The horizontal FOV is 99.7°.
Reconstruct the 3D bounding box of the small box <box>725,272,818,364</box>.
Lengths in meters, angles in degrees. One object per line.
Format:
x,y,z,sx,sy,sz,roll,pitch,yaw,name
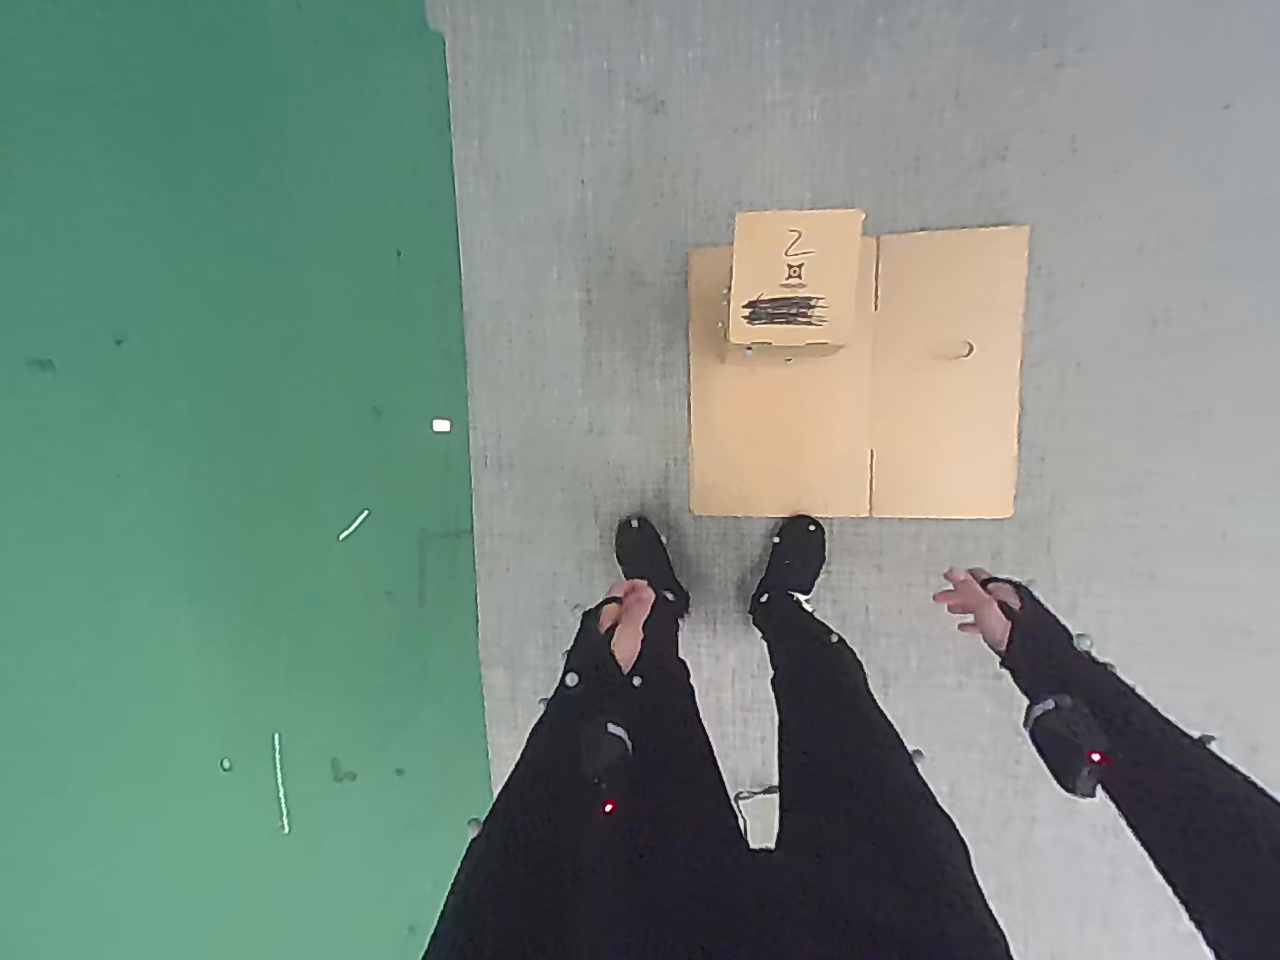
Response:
0.268,-0.331,1.115,0.179,0.176,0.168,1,97,9,small box

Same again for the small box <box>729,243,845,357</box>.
0.250,-0.310,0.956,0.179,0.176,0.168,2,98,9,small box
